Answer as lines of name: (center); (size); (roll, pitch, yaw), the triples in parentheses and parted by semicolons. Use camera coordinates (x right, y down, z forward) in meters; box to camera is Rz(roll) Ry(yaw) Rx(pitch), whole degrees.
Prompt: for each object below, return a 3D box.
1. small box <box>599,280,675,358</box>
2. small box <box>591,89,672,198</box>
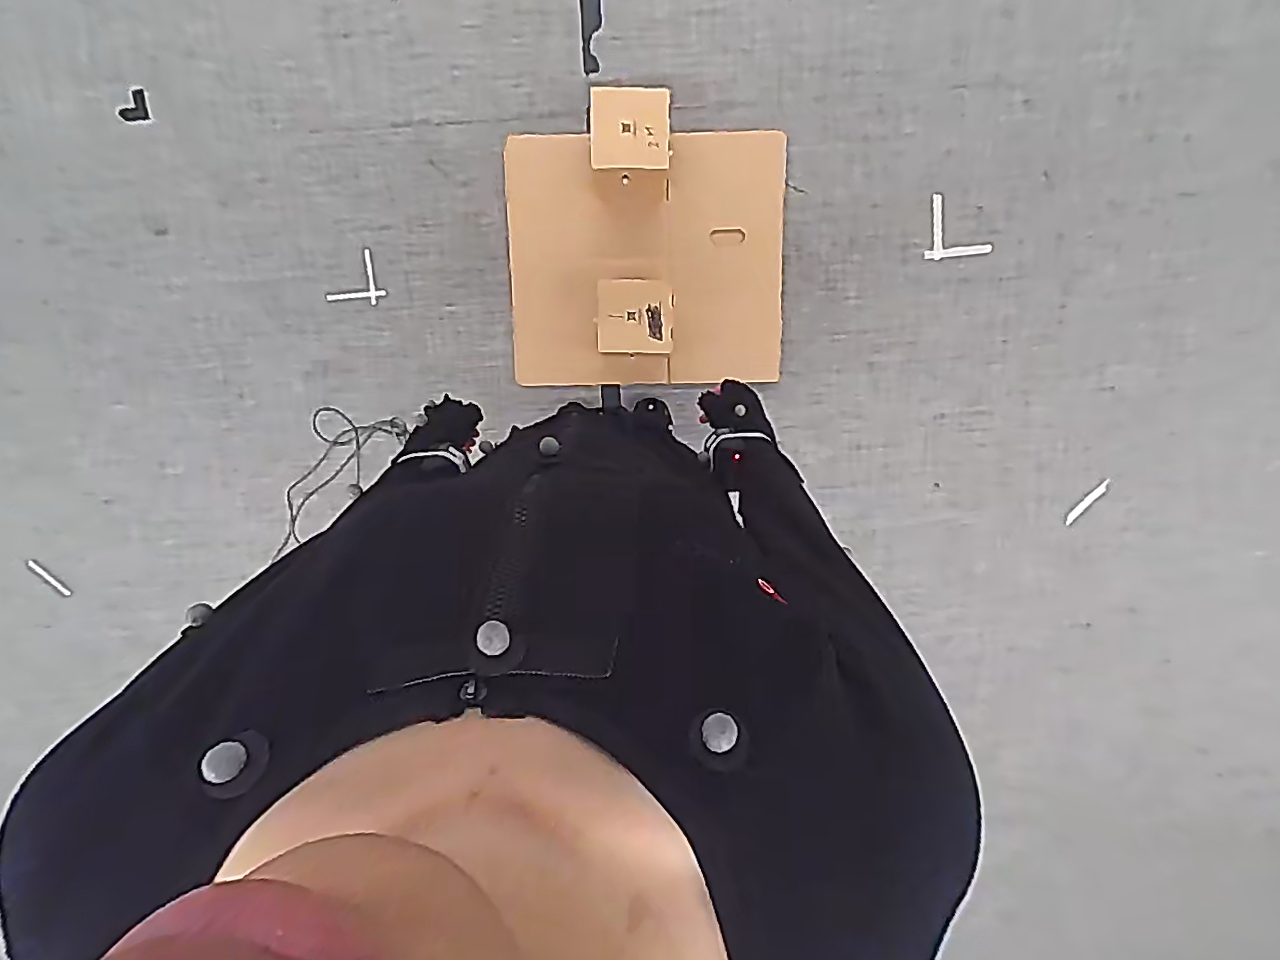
small box: (-0.011, -0.390, 1.327); (0.179, 0.176, 0.168); (0, 99, -1)
small box: (-0.021, -0.776, 1.264); (0.179, 0.176, 0.168); (1, 99, -2)
